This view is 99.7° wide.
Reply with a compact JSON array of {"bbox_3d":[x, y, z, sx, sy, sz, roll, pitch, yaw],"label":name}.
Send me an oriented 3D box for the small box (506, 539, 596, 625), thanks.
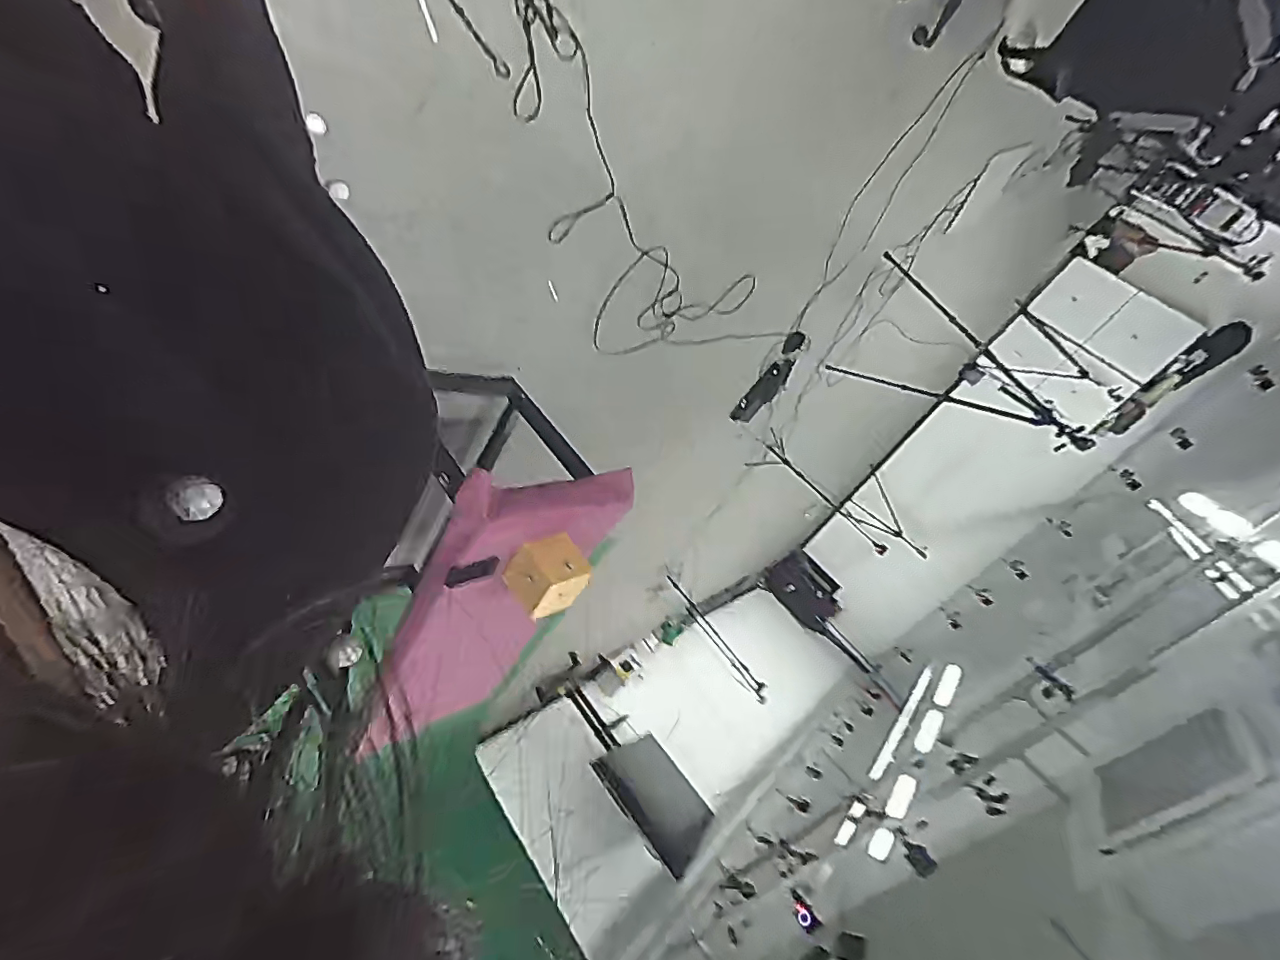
[{"bbox_3d":[-0.273,0.302,1.630,0.179,0.176,0.168,-9,139,-52],"label":"small box"}]
